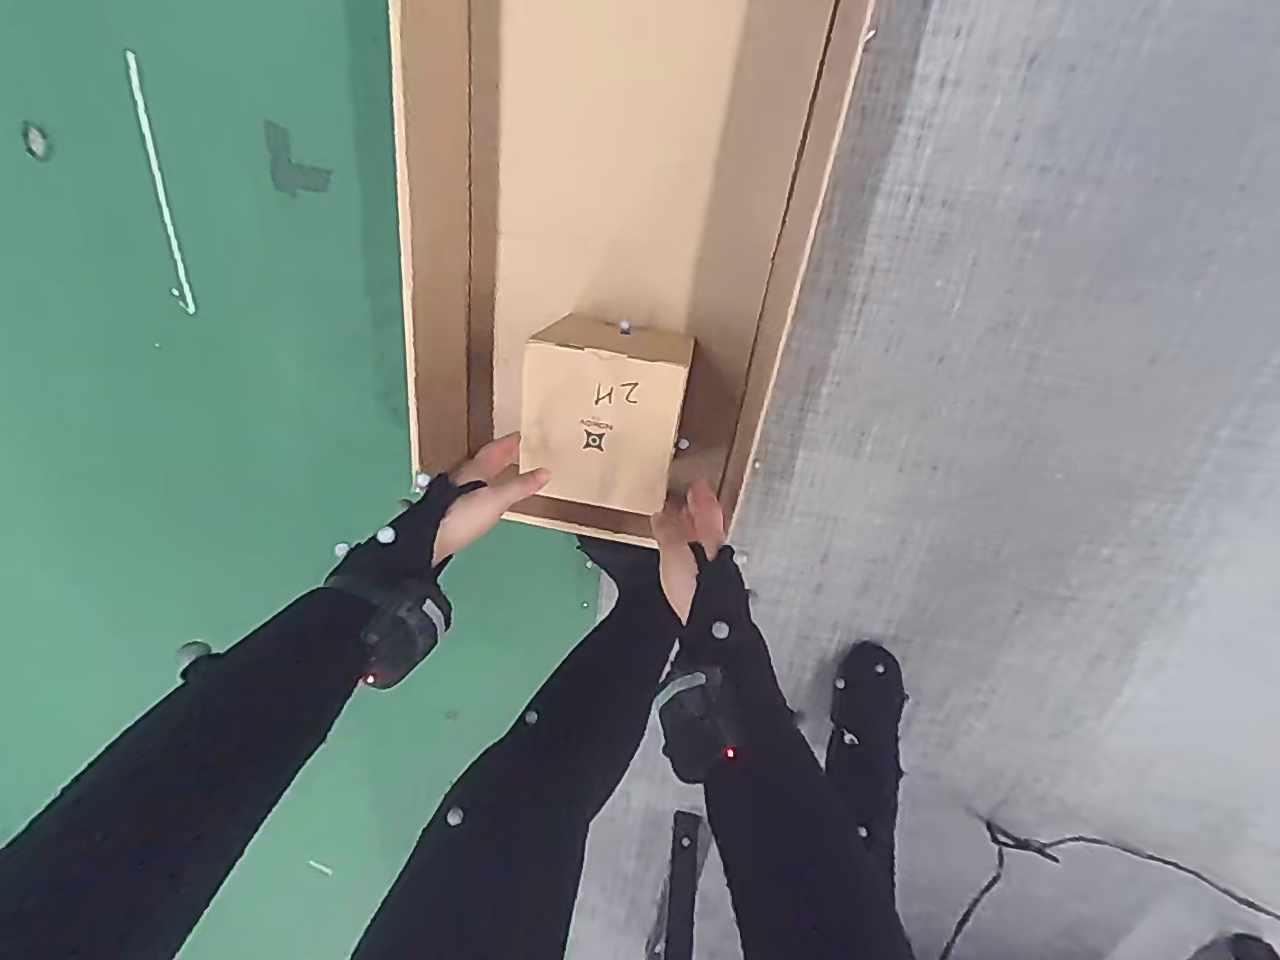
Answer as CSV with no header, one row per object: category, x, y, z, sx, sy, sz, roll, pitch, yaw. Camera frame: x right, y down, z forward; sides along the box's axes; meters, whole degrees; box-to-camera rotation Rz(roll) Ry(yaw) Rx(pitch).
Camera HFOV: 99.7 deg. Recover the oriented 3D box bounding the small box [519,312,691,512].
small box,-0.034,-0.088,0.638,0.168,0.176,0.179,10,115,2
